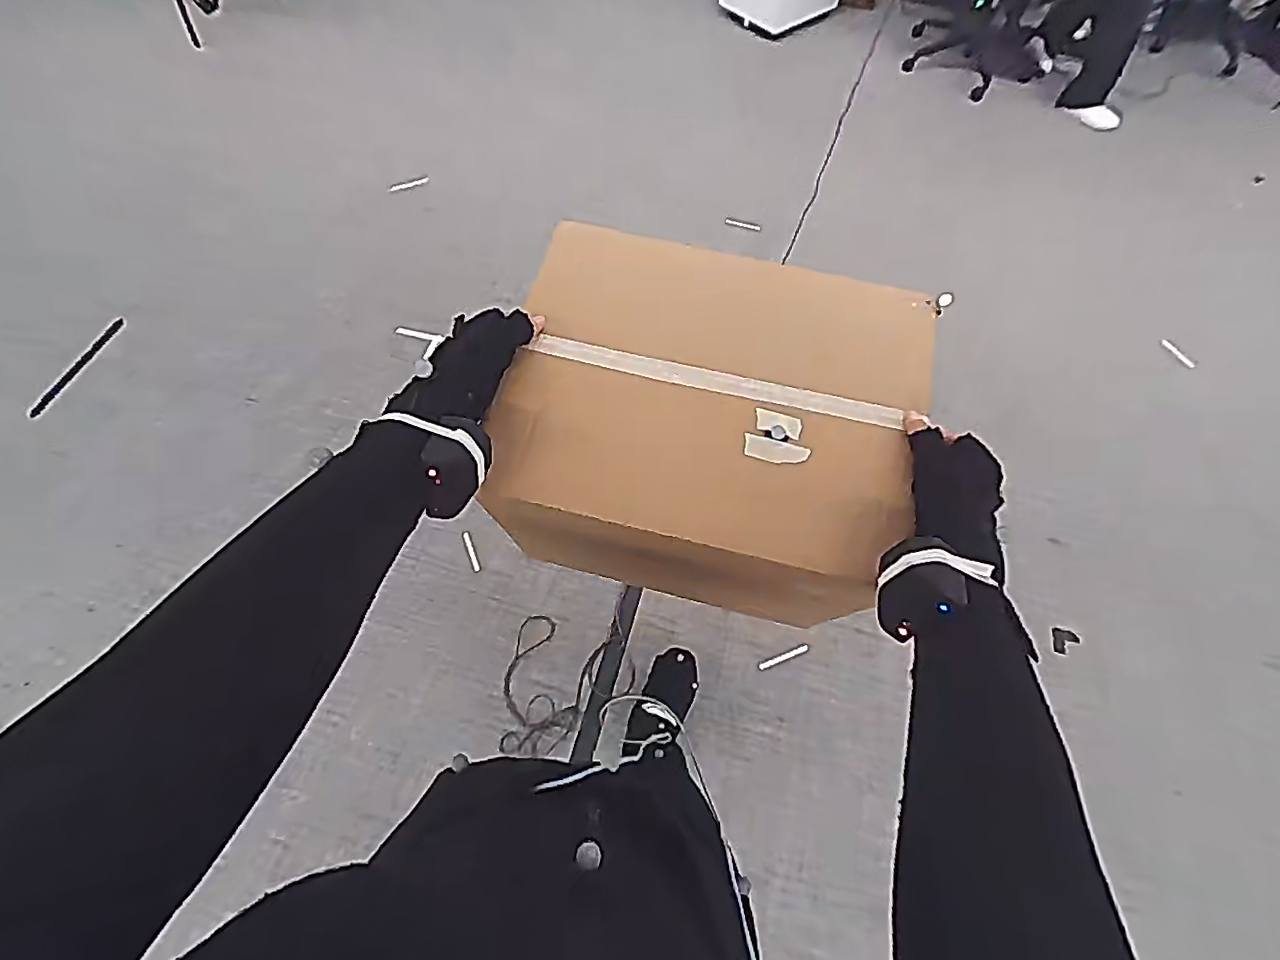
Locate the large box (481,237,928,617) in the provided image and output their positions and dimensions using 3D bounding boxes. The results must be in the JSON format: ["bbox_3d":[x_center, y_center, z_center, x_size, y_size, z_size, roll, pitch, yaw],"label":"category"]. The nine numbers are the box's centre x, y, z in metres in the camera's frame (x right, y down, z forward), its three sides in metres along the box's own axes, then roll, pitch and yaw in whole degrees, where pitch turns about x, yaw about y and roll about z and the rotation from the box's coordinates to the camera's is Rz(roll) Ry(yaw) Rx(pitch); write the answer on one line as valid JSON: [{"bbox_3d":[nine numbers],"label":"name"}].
[{"bbox_3d":[0.075,-0.040,0.675,0.408,0.320,0.320,13,71,4],"label":"large box"}]
